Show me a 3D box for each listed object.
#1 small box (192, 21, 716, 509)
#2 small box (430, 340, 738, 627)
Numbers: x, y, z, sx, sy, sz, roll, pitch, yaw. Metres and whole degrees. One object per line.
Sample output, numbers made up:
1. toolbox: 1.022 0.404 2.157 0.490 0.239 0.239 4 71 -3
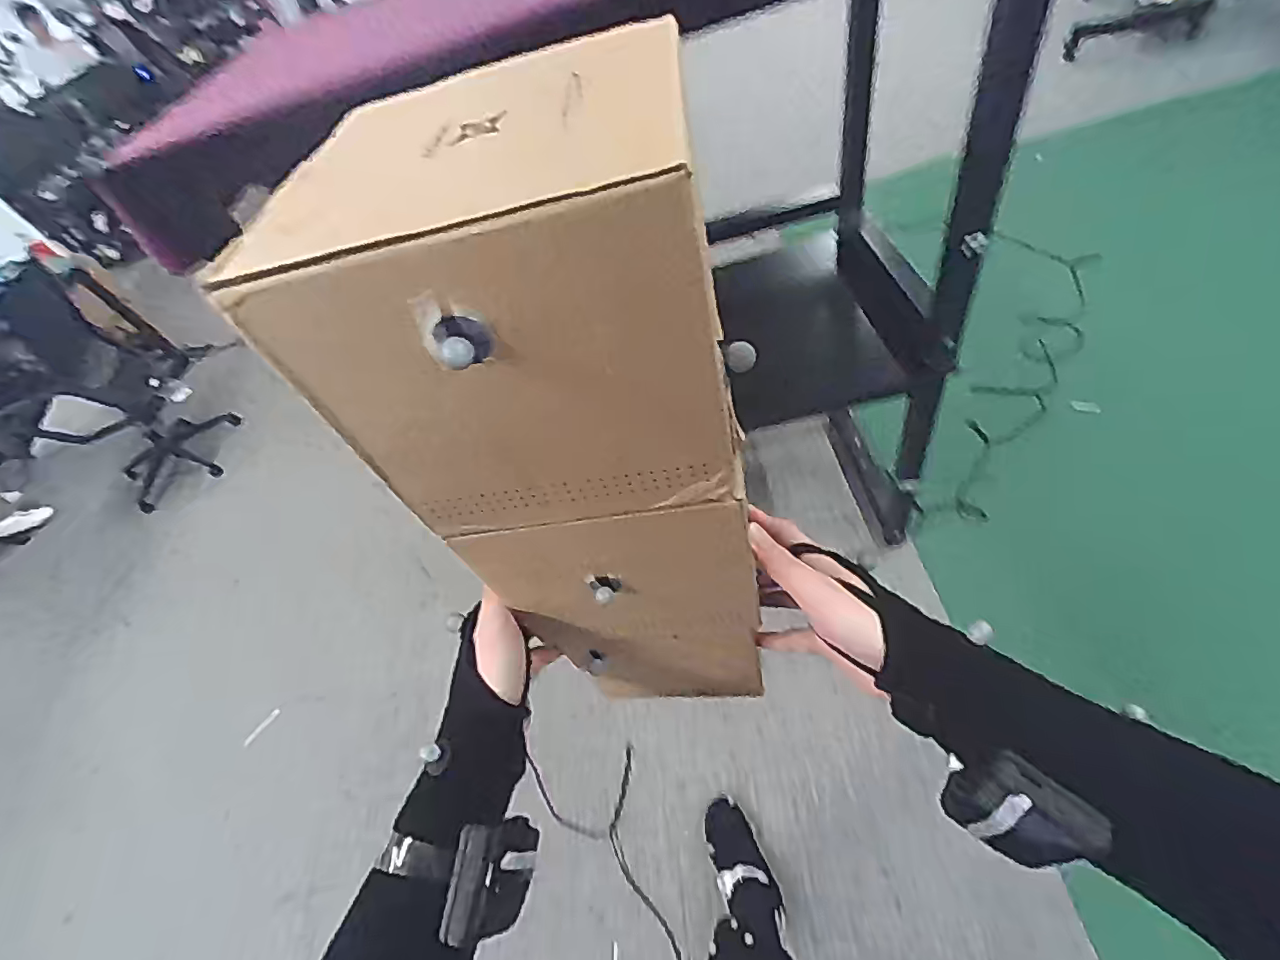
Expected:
1. small box: -0.061 -0.099 0.291 0.179 0.176 0.168 -7 51 12
2. small box: -0.022 0.000 0.415 0.179 0.176 0.168 -9 50 12
